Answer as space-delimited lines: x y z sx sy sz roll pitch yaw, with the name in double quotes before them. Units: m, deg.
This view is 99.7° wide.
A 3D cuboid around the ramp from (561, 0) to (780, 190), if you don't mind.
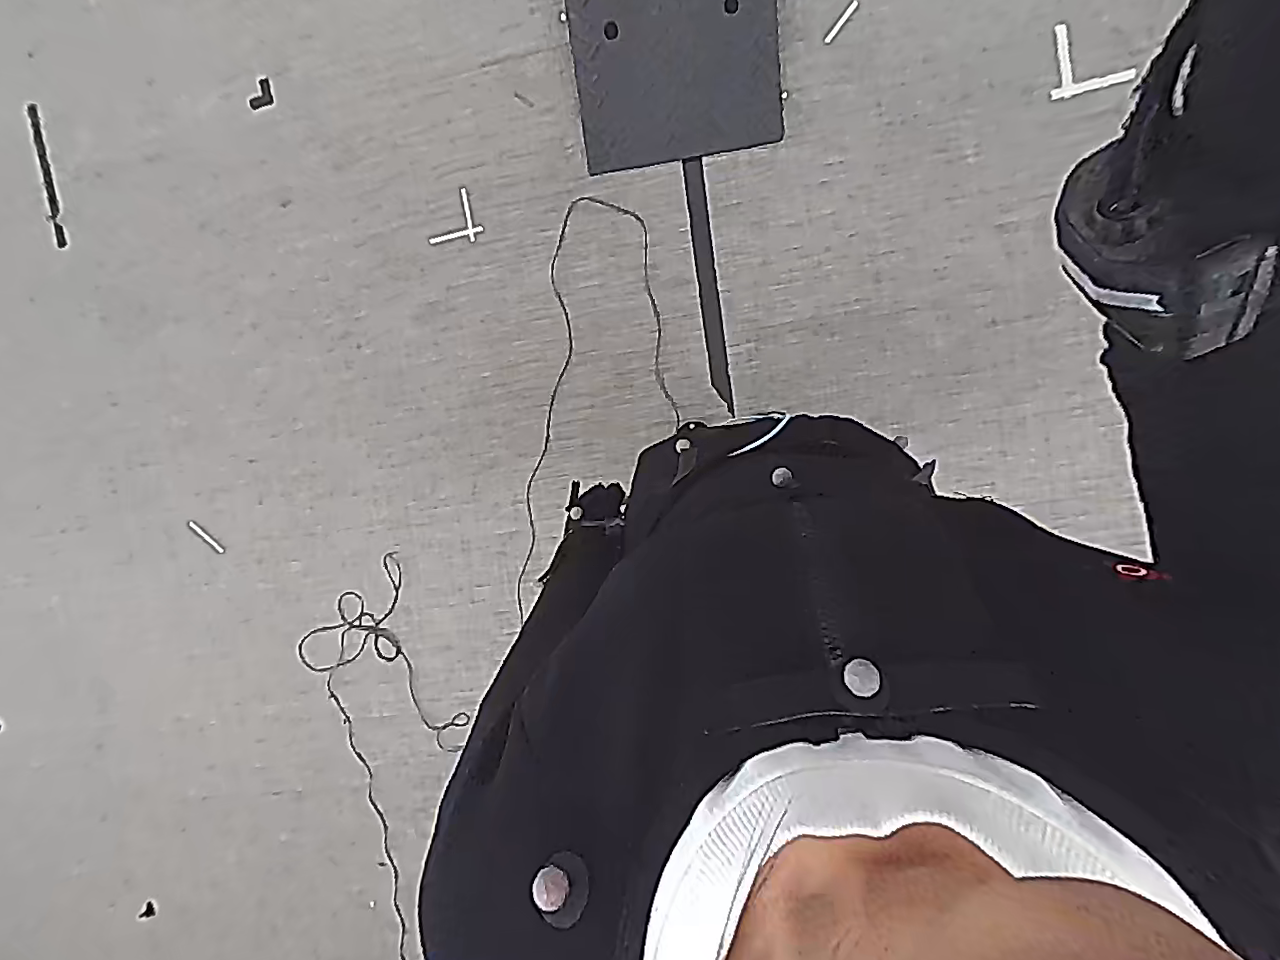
"ramp" 0.037 -1.263 1.260 0.509 0.206 0.991 -9 95 8
